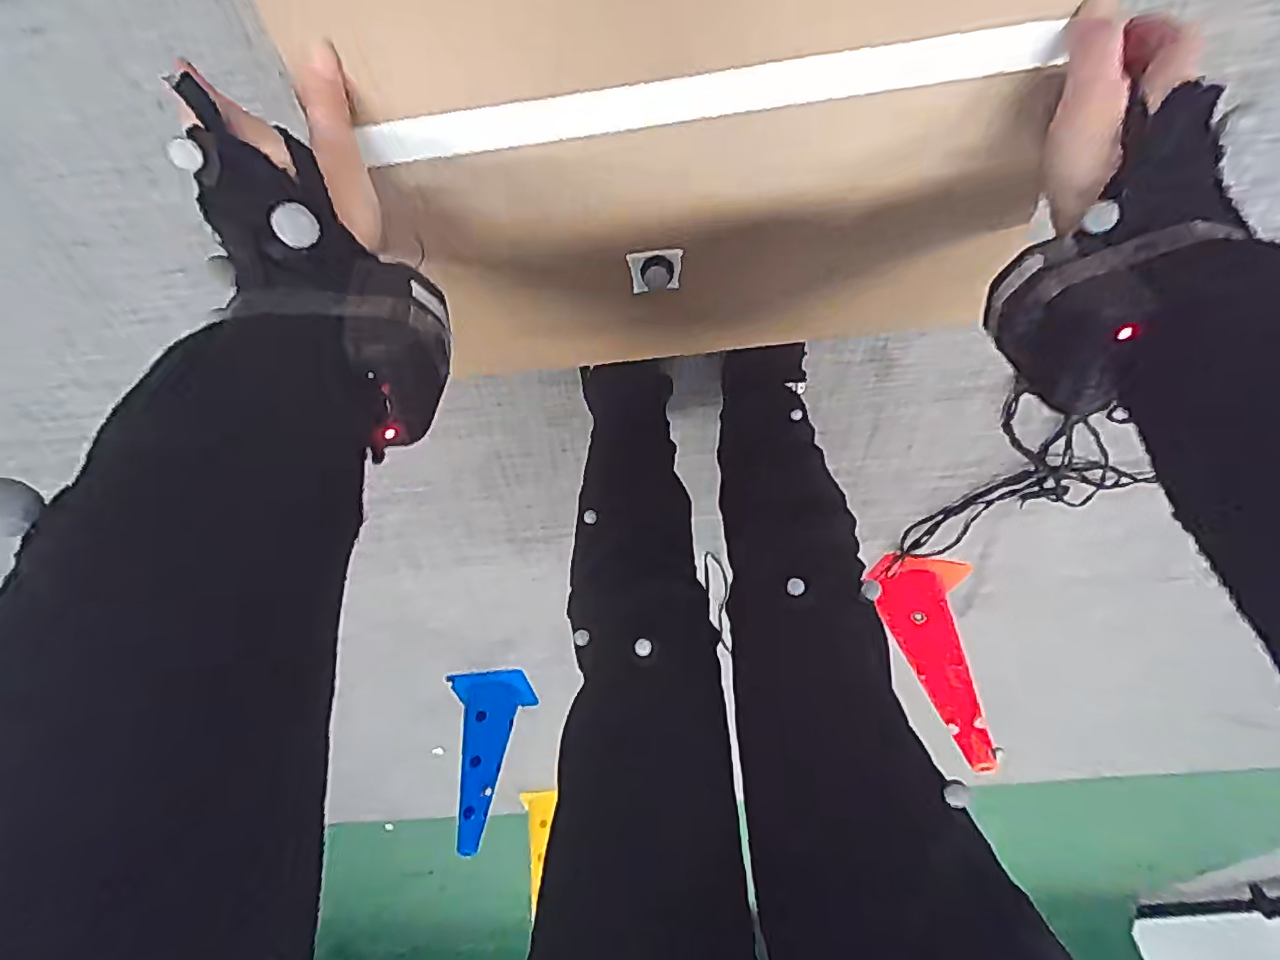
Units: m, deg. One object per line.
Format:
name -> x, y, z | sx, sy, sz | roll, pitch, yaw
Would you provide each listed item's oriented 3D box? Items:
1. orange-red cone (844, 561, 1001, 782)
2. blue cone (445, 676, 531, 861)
orange-red cone -> 0.551, 0.351, 0.986 | 0.199, 0.360, 0.198 | 9, 133, -12
blue cone -> -0.383, 0.669, 1.273 | 0.192, 0.380, 0.193 | -4, 132, 3
